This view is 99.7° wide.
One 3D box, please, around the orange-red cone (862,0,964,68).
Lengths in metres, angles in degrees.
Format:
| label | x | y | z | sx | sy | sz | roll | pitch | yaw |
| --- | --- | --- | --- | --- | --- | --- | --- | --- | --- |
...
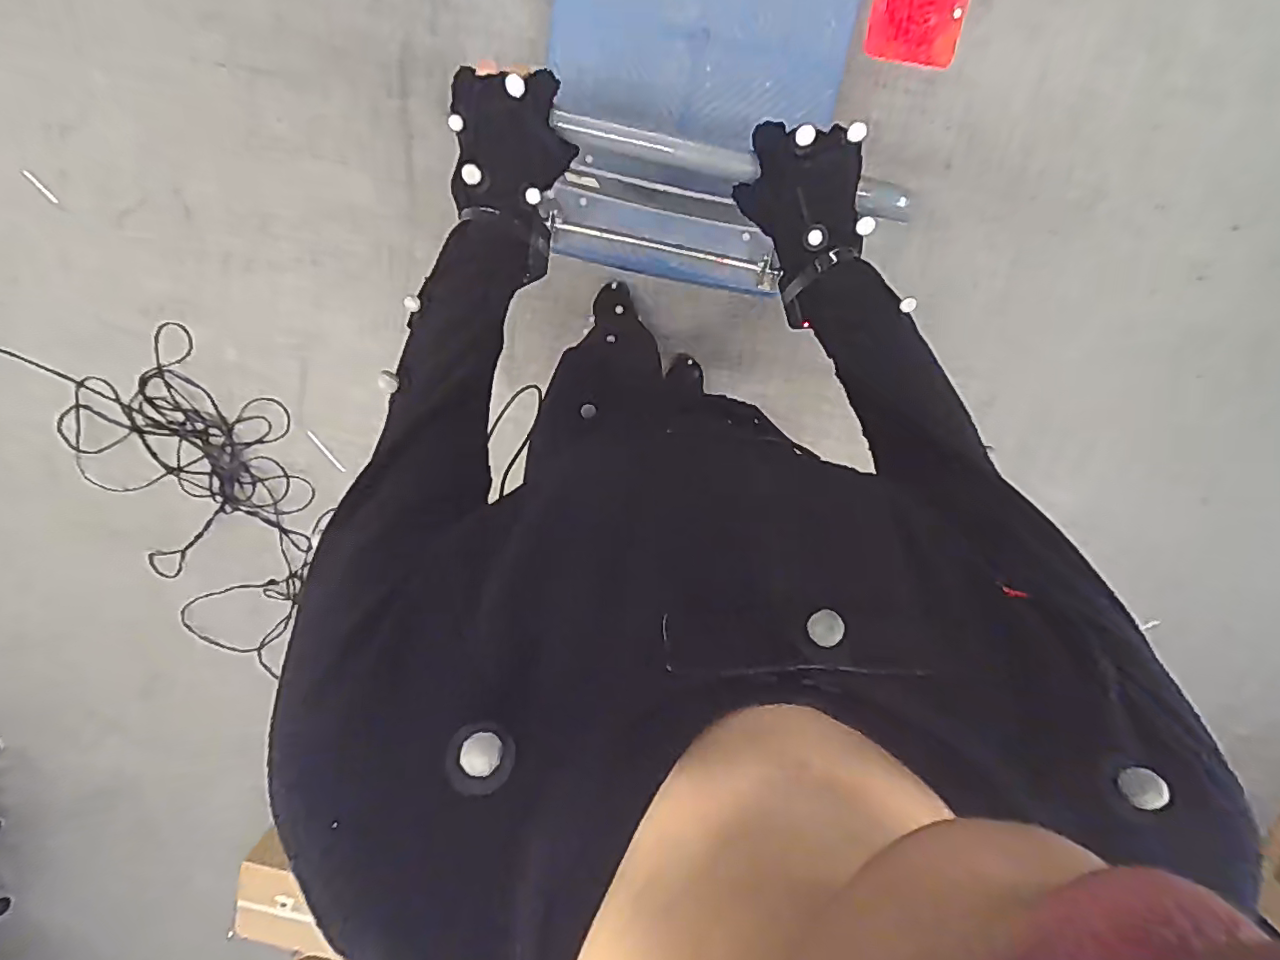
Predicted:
| label | x | y | z | sx | sy | sz | roll | pitch | yaw |
| --- | --- | --- | --- | --- | --- | --- | --- | --- | --- |
| orange-red cone | 0.595 | -0.979 | 1.016 | 0.199 | 0.360 | 0.198 | 11 | 106 | 0 |
